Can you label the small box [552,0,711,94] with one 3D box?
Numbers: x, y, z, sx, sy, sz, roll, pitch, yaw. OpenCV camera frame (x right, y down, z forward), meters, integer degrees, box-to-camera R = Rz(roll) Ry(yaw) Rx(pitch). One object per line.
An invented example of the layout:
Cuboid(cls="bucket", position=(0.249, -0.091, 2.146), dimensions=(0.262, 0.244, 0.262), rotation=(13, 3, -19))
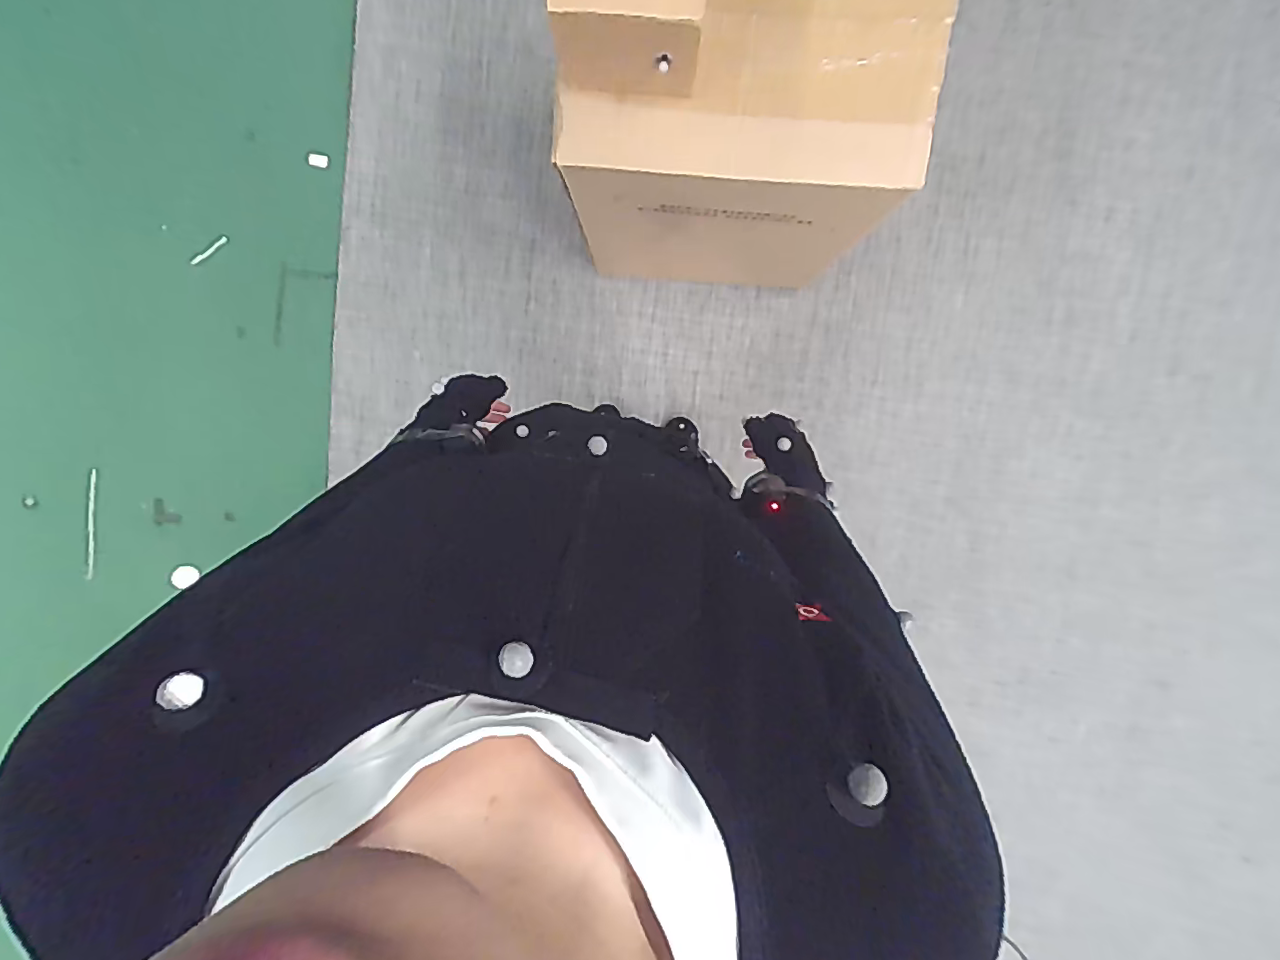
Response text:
Cuboid(cls="small box", position=(-0.003, -0.604, 0.660), dimensions=(0.179, 0.176, 0.168), rotation=(4, 101, 2))
